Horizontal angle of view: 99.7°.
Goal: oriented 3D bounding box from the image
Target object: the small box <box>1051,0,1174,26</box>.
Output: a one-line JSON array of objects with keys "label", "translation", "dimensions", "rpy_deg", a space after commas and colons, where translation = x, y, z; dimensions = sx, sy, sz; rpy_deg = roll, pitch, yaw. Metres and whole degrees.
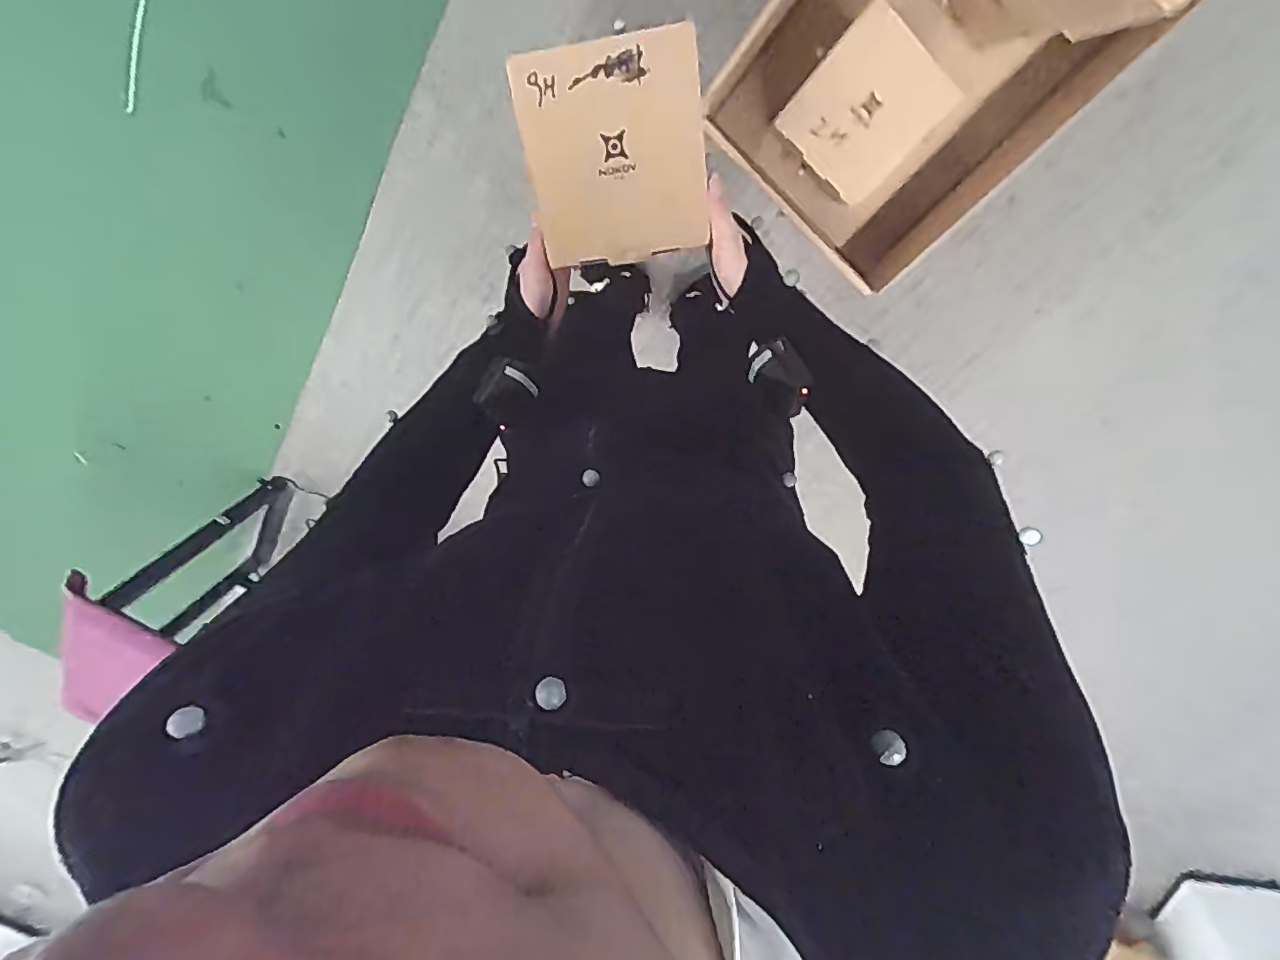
[{"label": "small box", "translation": [0.394, -0.489, 0.401], "dimensions": [0.168, 0.176, 0.179], "rpy_deg": [36, 123, -11]}]

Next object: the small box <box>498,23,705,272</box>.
[{"label": "small box", "translation": [-0.024, -0.334, 0.560], "dimensions": [0.168, 0.176, 0.179], "rpy_deg": [-7, 121, 7]}]

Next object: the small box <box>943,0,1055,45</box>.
[{"label": "small box", "translation": [0.474, -0.681, 0.656], "dimensions": [0.168, 0.176, 0.179], "rpy_deg": [38, 124, -12]}]

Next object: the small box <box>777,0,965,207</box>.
[{"label": "small box", "translation": [0.313, -0.528, 0.777], "dimensions": [0.168, 0.176, 0.179], "rpy_deg": [40, 119, -12]}]
